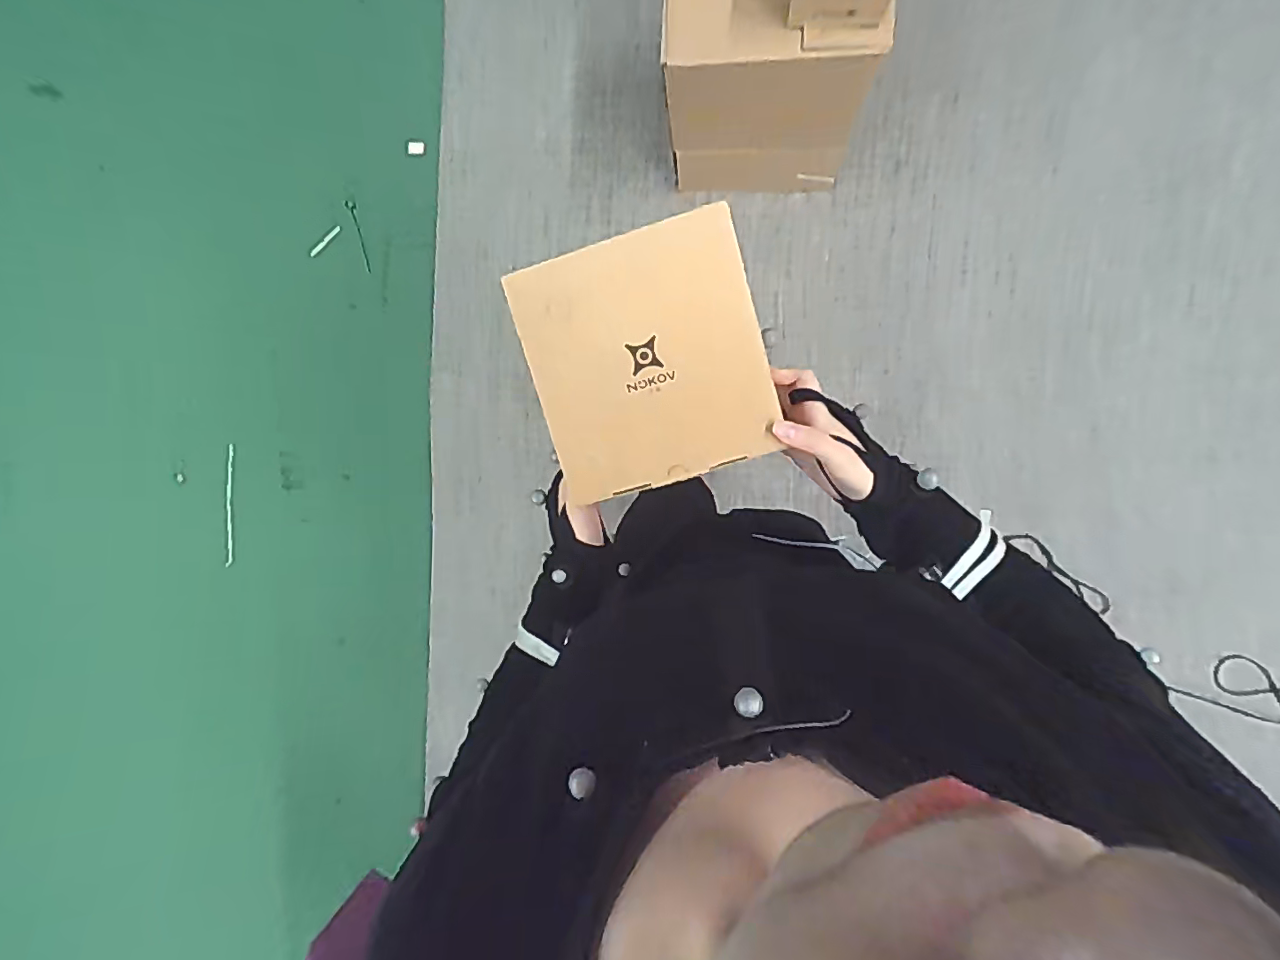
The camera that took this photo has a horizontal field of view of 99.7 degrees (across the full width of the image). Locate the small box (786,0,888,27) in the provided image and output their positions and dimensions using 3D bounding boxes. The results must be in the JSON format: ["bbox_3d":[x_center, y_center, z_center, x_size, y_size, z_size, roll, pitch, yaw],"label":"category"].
[{"bbox_3d":[0.333,-0.876,0.870,0.168,0.176,0.179,6,92,8],"label":"small box"}]

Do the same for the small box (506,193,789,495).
[{"bbox_3d":[0.011,-0.104,0.461,0.168,0.176,0.179,-16,99,8],"label":"small box"}]
